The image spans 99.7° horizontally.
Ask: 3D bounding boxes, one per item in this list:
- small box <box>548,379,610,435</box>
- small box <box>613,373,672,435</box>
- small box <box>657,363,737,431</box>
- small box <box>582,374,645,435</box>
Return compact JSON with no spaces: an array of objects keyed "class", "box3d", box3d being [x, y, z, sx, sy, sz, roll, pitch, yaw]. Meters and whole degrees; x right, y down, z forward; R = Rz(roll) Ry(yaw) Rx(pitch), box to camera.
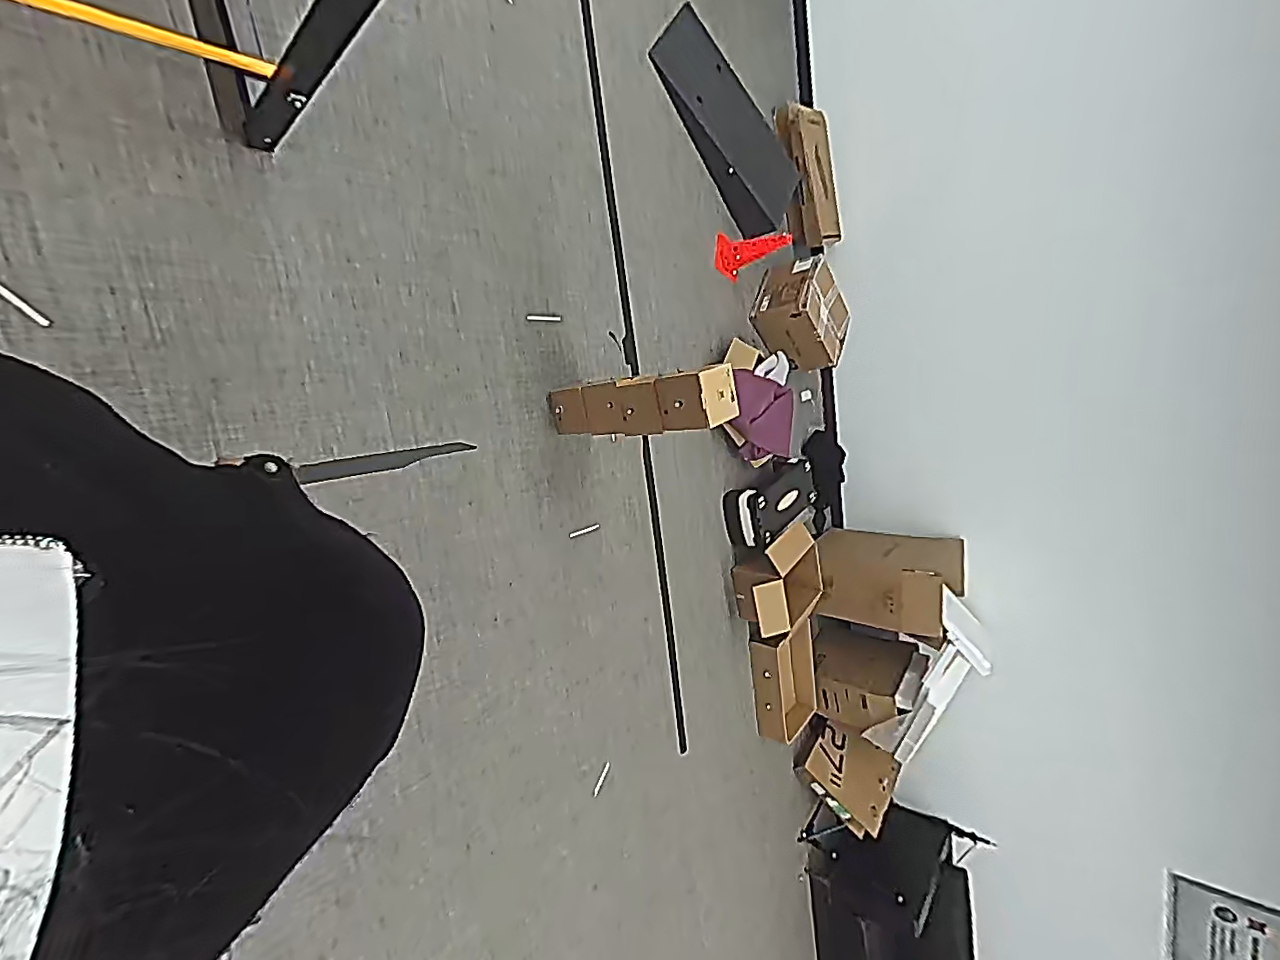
[{"class":"small box","box3d":[-0.206,-0.265,1.968,0.179,0.176,0.168,-26,109,-44]},{"class":"small box","box3d":[0.041,-0.247,1.750,0.179,0.176,0.168,-28,111,-44]},{"class":"small box","box3d":[0.167,-0.250,1.646,0.179,0.176,0.168,-27,110,-44]},{"class":"small box","box3d":[-0.081,-0.258,1.861,0.168,0.176,0.179,-23,108,-45]}]
